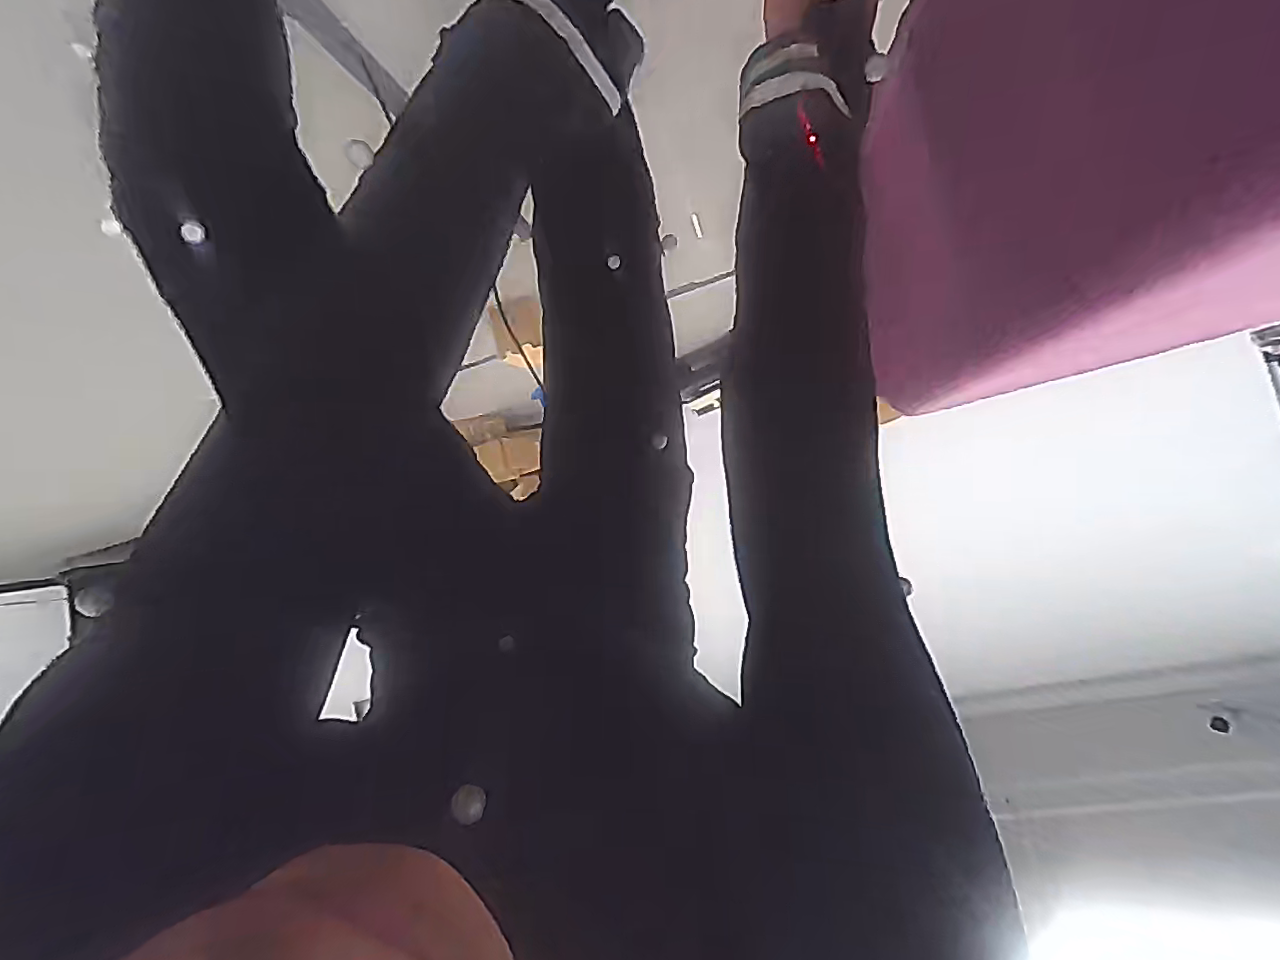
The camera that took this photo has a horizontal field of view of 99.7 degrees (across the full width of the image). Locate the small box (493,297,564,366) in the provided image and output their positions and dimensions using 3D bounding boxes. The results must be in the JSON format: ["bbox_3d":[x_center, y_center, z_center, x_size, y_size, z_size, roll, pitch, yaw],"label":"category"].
[{"bbox_3d":[-0.385,-0.513,1.877,0.168,0.176,0.179,-14,176,18],"label":"small box"}]
